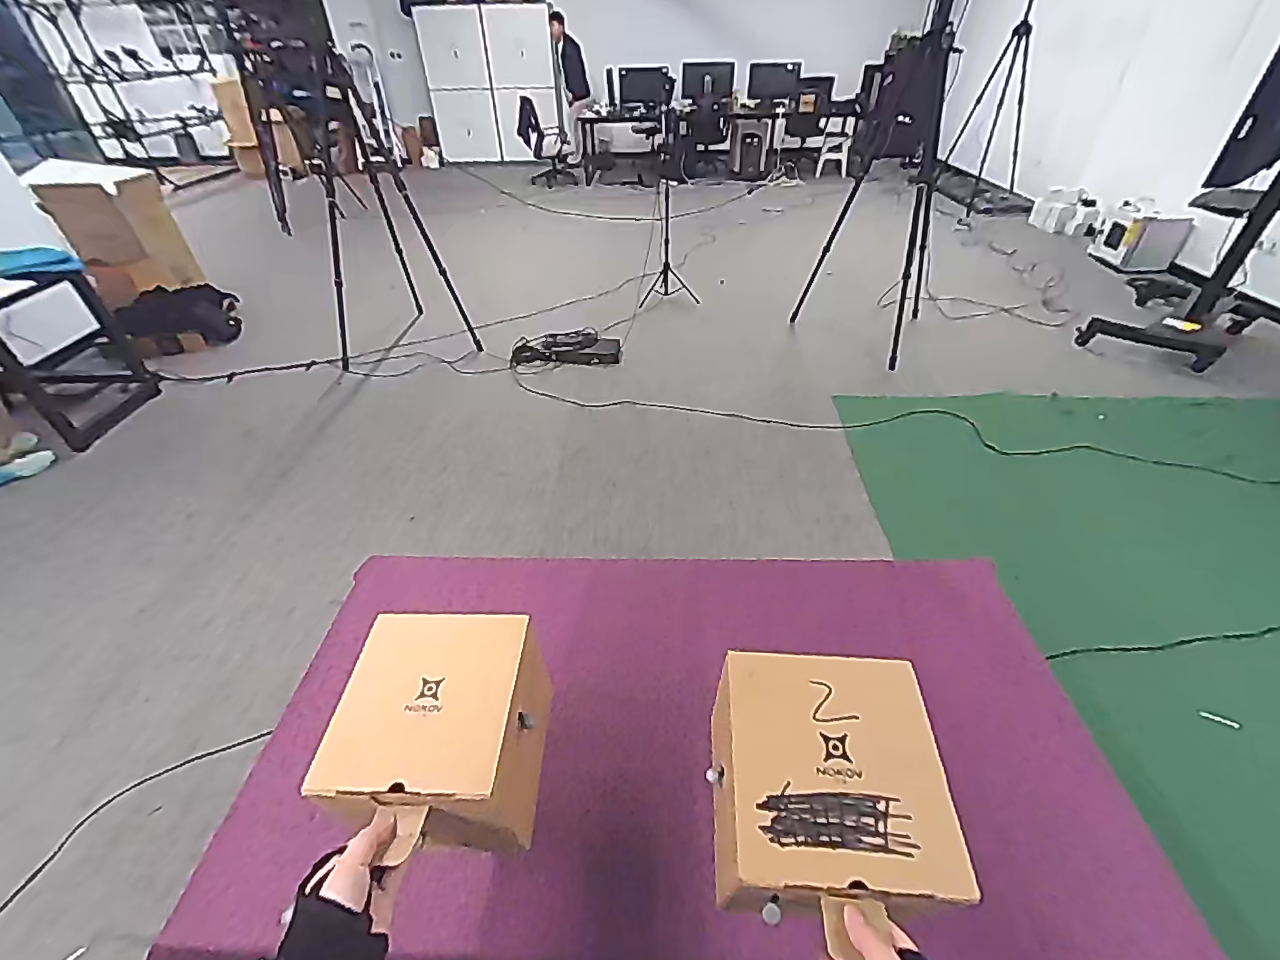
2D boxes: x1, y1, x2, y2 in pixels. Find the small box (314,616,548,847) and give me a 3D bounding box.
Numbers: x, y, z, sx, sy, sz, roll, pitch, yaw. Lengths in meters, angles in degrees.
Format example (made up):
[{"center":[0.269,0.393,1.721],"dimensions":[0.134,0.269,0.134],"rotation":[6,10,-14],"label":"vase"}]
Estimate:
[{"center":[-0.200,0.268,0.582],"dimensions":[0.168,0.176,0.179],"rotation":[0,44,3],"label":"small box"}]
